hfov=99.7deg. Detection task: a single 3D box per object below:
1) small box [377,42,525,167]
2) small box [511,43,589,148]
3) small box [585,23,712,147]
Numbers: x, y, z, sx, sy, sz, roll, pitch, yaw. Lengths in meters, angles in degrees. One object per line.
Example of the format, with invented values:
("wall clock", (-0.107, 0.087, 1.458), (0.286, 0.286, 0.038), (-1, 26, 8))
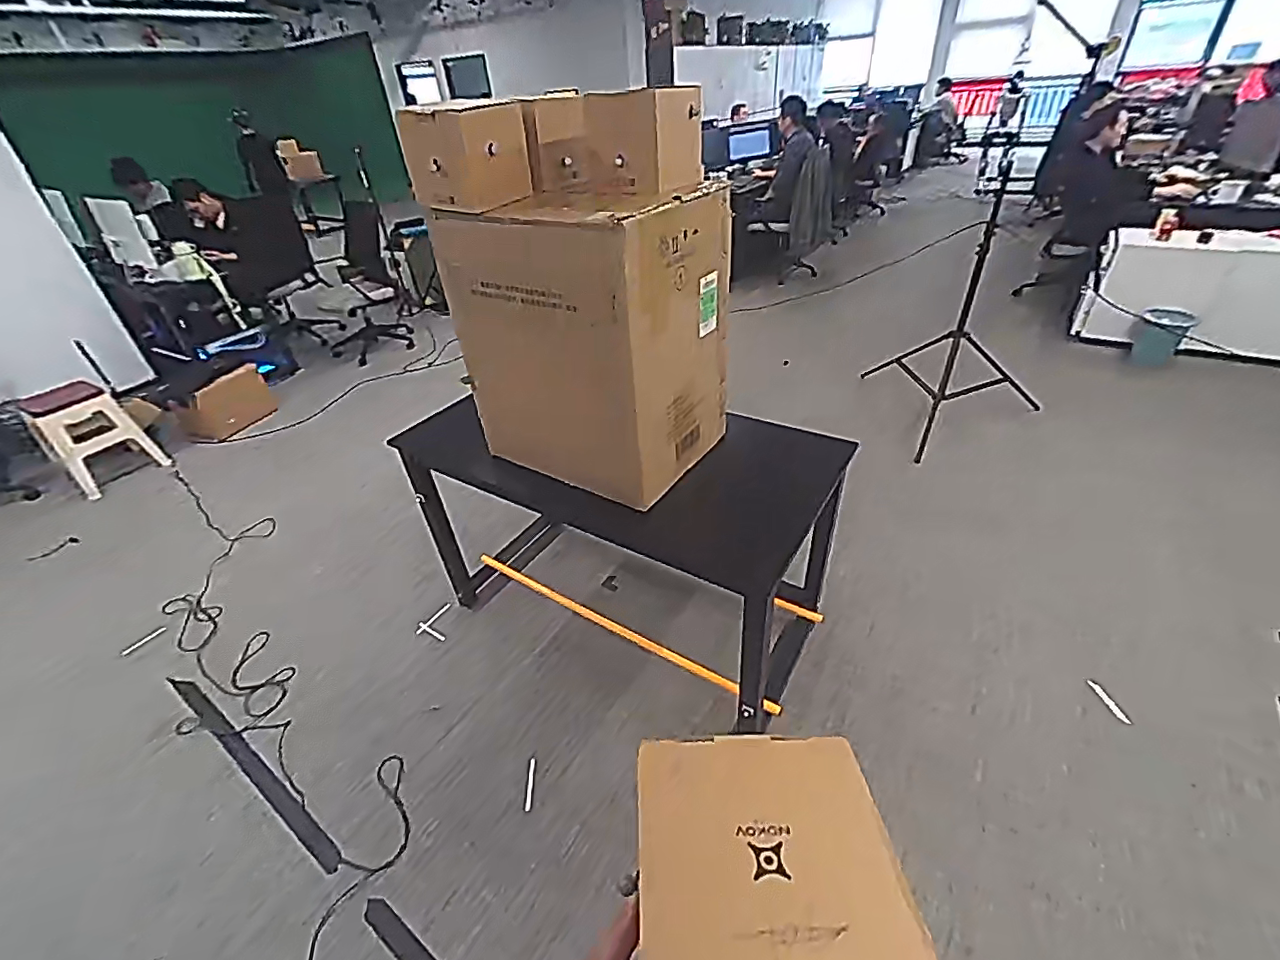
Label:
("small box", (-0.332, -0.685, 0.989), (0.168, 0.176, 0.179), (18, 45, 23))
("small box", (-0.226, -0.795, 1.127), (0.179, 0.176, 0.168), (21, 43, 28))
("small box", (0.019, -0.720, 0.997), (0.168, 0.176, 0.179), (17, 40, 28))
